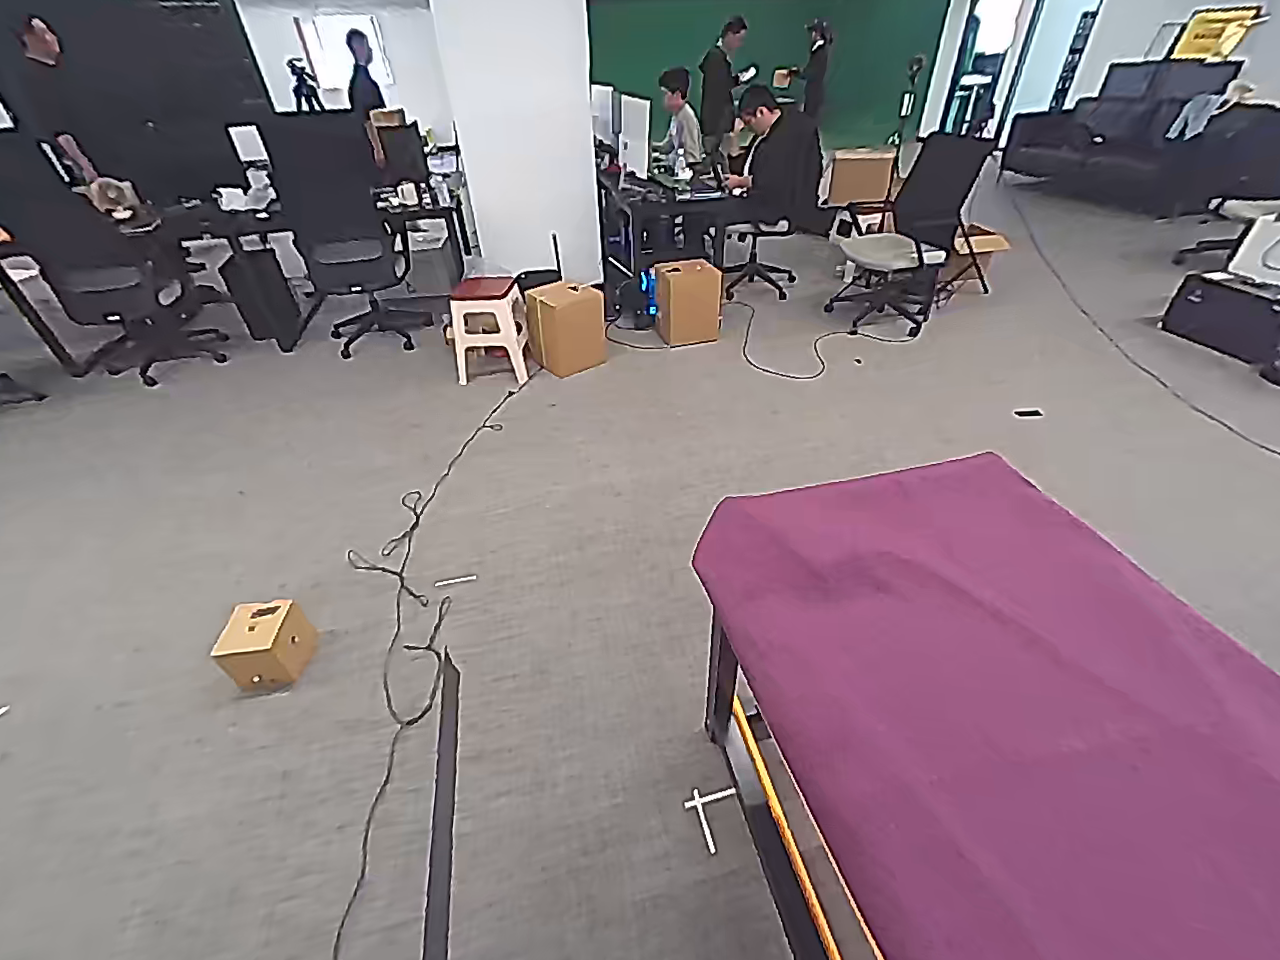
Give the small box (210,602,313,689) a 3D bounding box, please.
[{"bbox_3d":[-1.097,0.486,1.587,0.168,0.176,0.179,-6,39,-3],"label":"small box"}]
